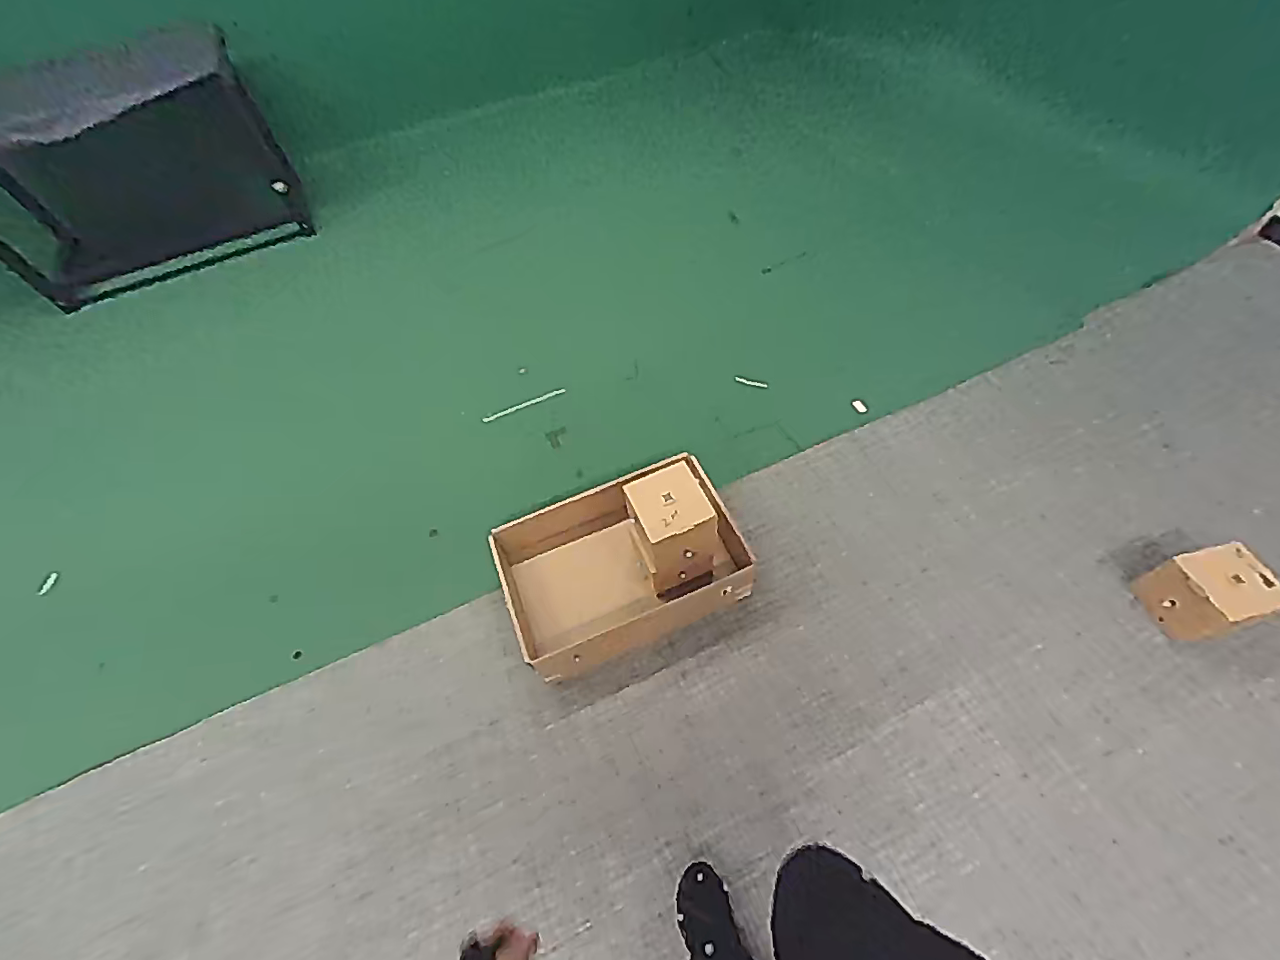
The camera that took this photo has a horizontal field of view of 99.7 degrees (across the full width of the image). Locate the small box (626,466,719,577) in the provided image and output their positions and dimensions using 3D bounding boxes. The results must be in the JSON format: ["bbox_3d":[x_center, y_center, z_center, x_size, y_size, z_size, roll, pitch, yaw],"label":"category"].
[{"bbox_3d":[0.078,0.103,1.306,0.168,0.176,0.179,-23,58,-8],"label":"small box"}]

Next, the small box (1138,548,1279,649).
[{"bbox_3d":[1.366,0.290,1.301,0.179,0.176,0.168,-14,56,-2],"label":"small box"}]
